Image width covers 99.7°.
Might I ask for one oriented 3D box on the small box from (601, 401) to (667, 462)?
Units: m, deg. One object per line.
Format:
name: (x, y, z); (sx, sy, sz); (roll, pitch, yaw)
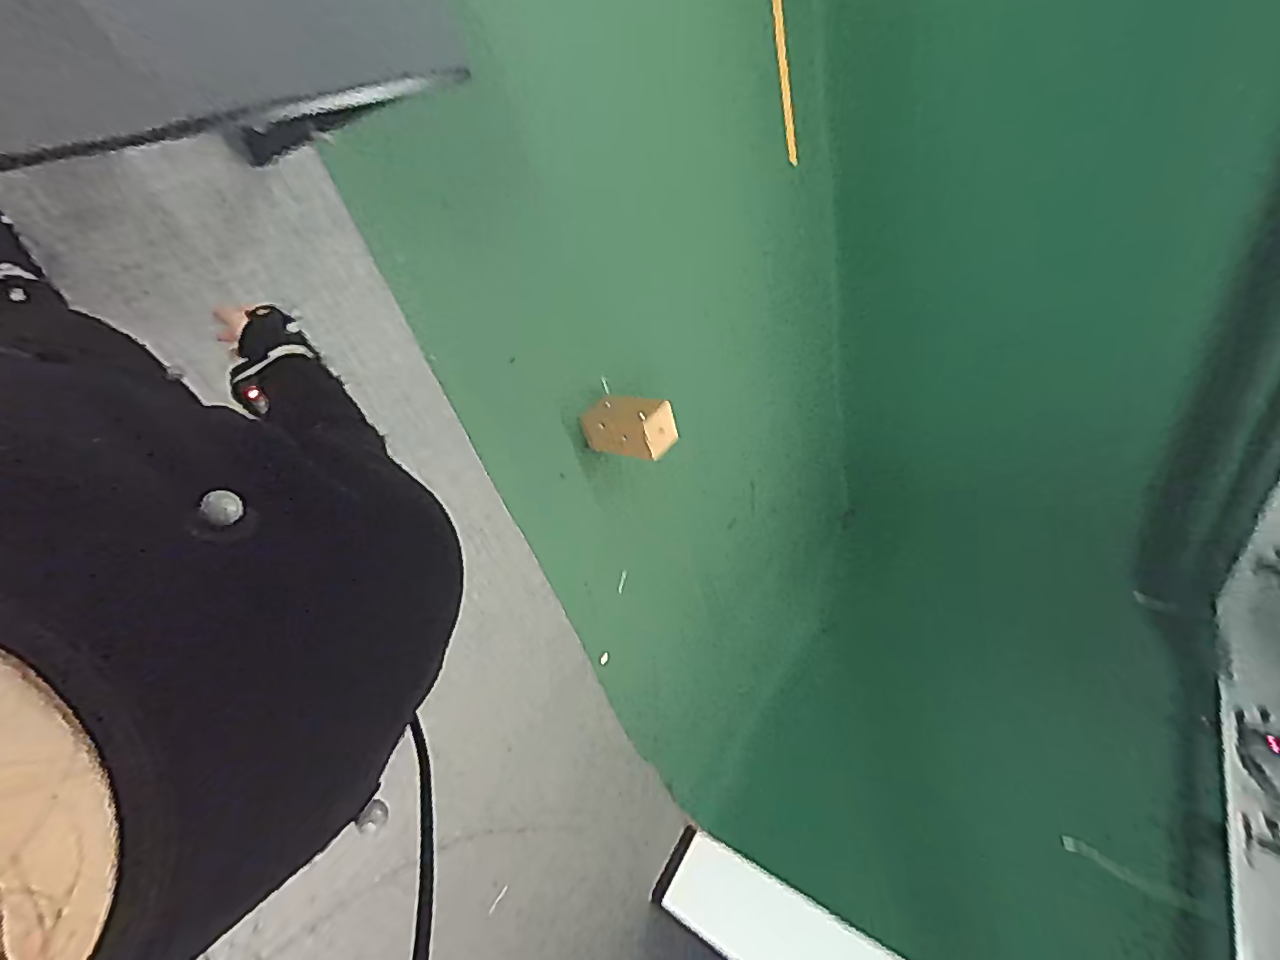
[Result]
small box: (-0.022, -0.193, 2.081); (0.179, 0.176, 0.168); (-47, 134, -36)
